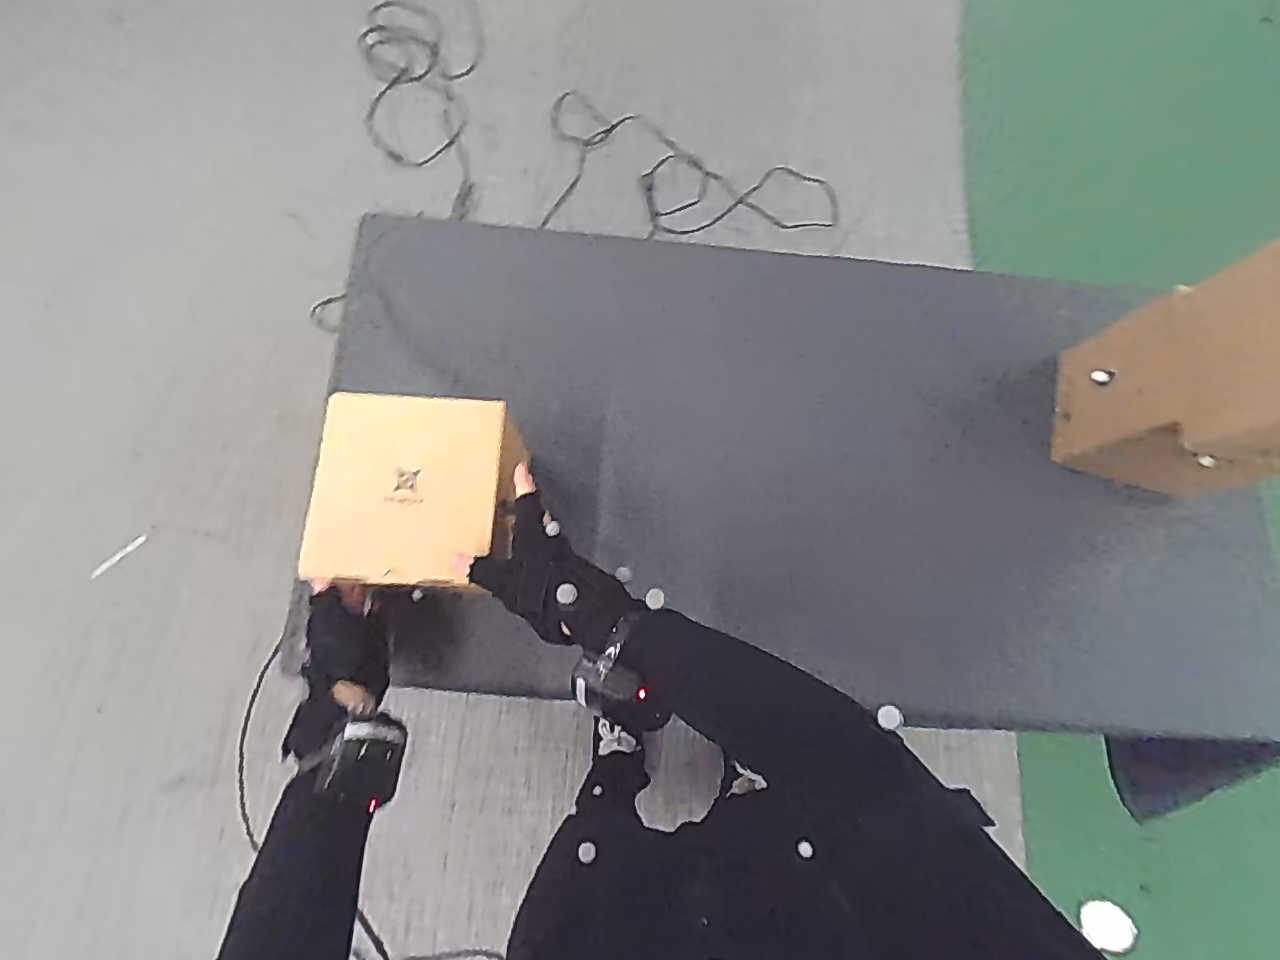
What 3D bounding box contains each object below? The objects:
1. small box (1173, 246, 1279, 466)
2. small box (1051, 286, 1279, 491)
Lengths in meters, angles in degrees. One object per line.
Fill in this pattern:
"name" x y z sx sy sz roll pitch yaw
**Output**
"small box" 0.637 -0.120 0.485 0.168 0.176 0.179 10 77 0
"small box" 0.641 -0.096 0.648 0.179 0.176 0.168 16 76 1
